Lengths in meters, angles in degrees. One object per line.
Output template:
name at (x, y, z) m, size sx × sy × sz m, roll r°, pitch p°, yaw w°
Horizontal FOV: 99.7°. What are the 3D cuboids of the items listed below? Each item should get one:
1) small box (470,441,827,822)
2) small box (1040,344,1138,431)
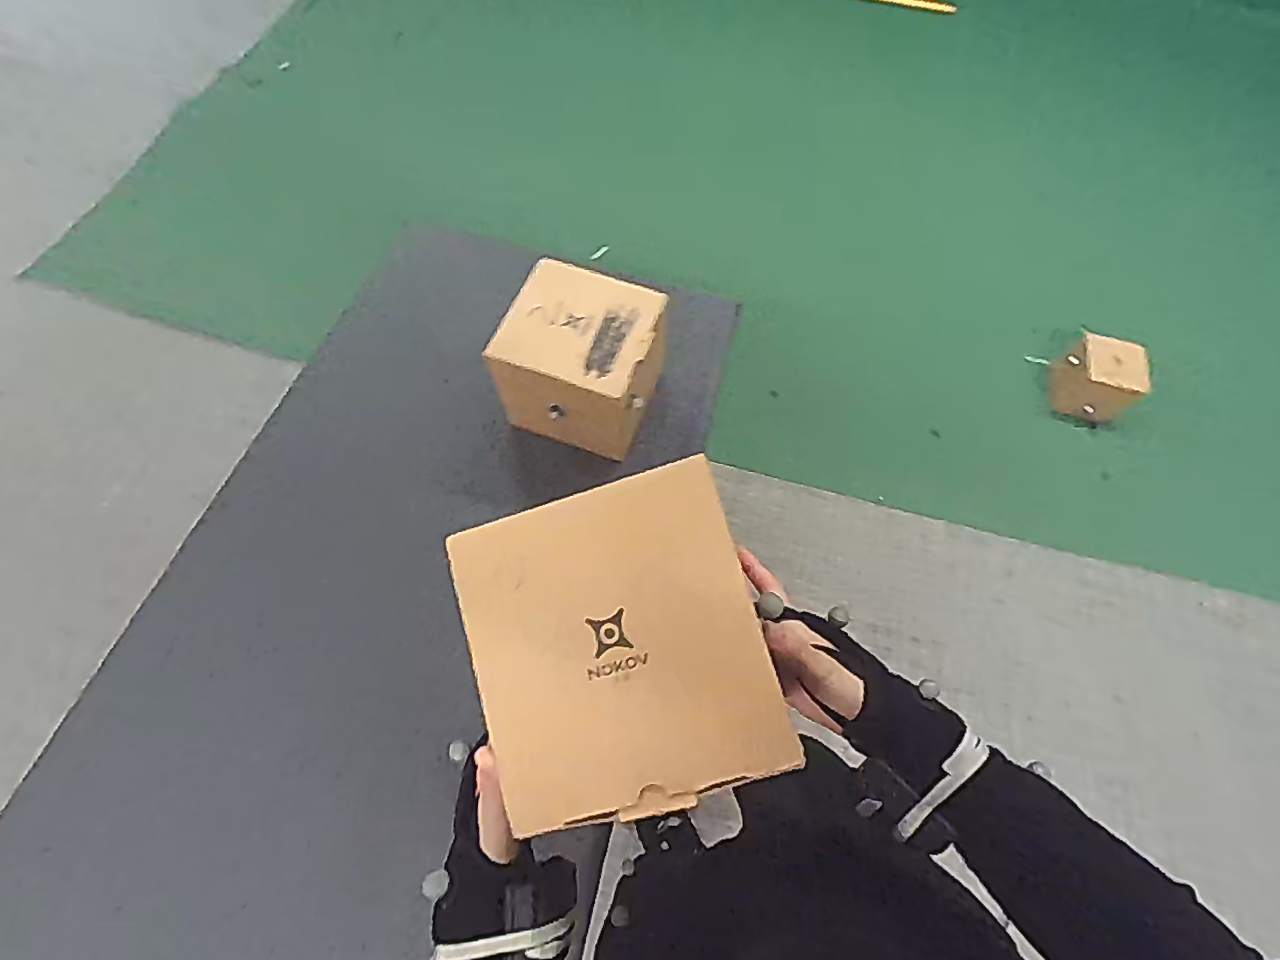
small box at (0.007, 0.093, 0.375) m, size 0.168 × 0.176 × 0.179 m, roll -16°, pitch 80°, yaw 6°
small box at (1.370, -0.281, 1.662) m, size 0.168 × 0.176 × 0.179 m, roll 16°, pitch 66°, yaw 4°
